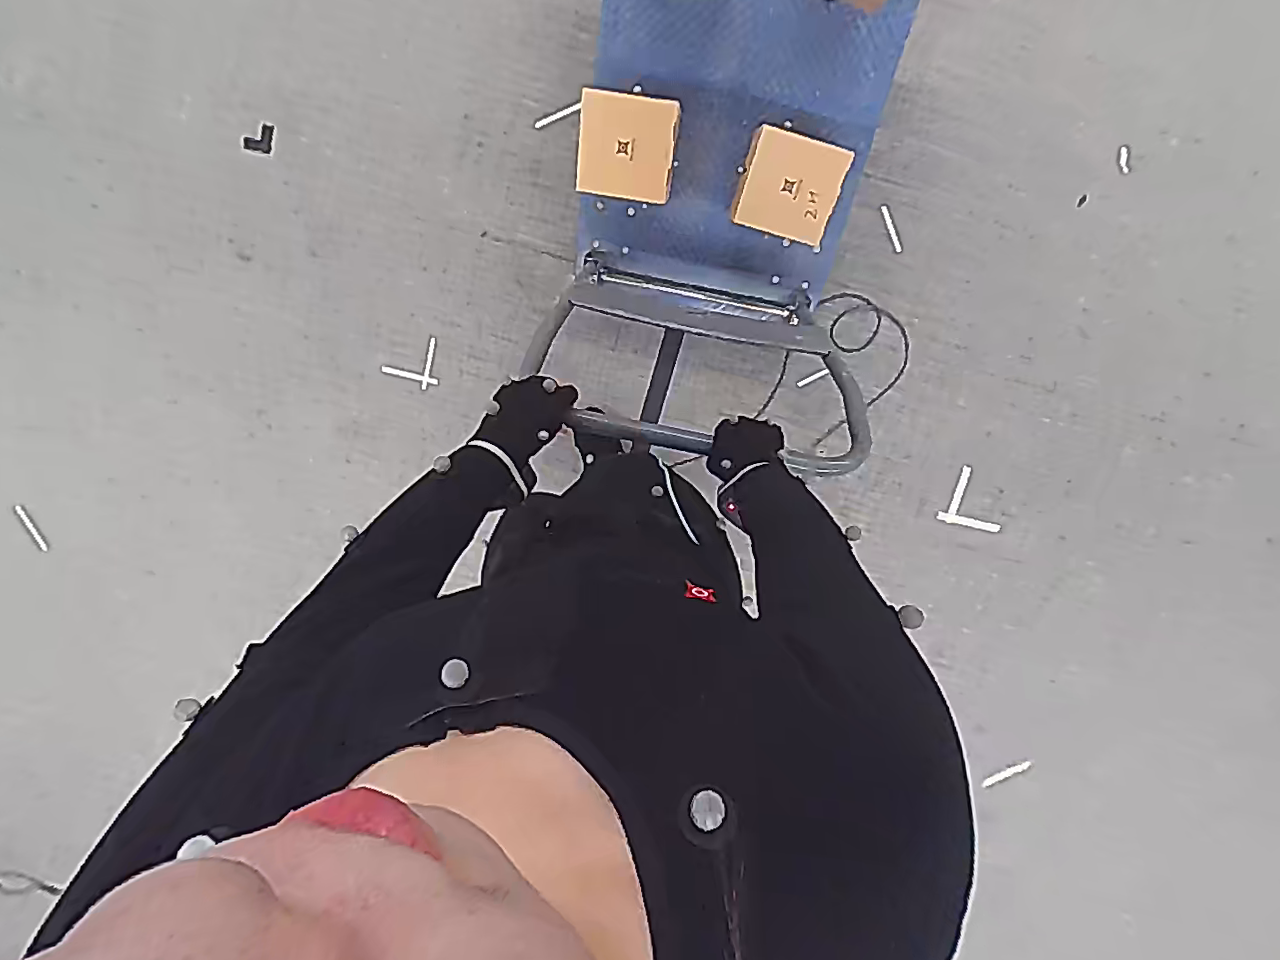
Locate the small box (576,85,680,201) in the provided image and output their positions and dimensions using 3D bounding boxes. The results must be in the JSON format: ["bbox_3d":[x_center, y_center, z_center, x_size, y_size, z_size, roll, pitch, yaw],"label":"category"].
[{"bbox_3d":[-0.021,-0.652,1.060,0.179,0.176,0.168,8,120,-1],"label":"small box"}]

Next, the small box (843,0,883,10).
[{"bbox_3d":[0.374,-0.916,0.874,0.168,0.176,0.179,21,120,-7],"label":"small box"}]

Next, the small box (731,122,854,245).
[{"bbox_3d":[0.288,-0.583,1.072,0.179,0.176,0.168,15,120,-4],"label":"small box"}]
